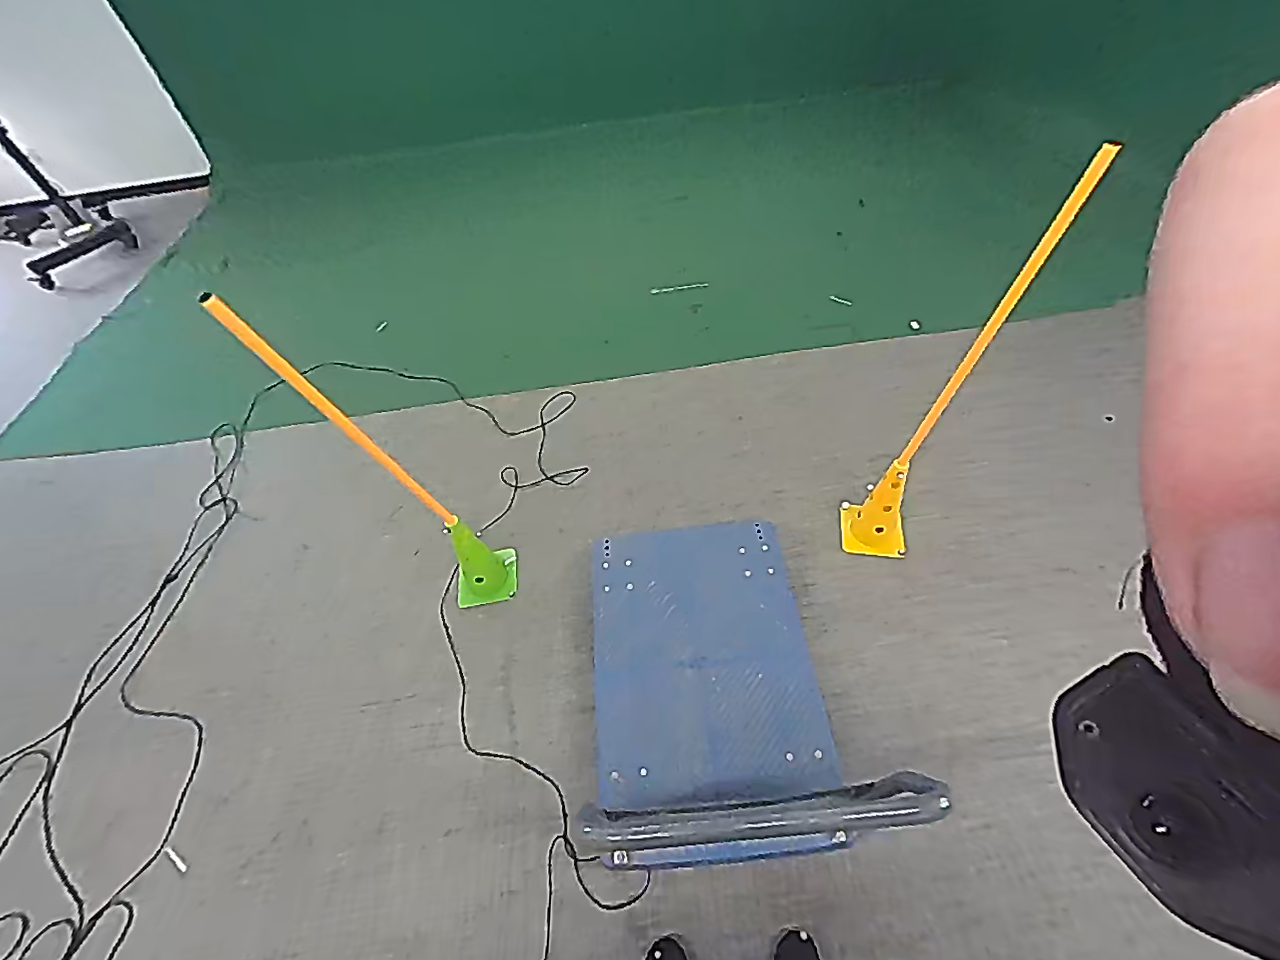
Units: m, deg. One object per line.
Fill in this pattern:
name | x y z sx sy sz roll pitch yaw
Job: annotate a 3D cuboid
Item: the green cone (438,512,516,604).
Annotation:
green cone | -0.547 0.214 1.724 0.202 0.368 0.200 -12 51 -1
